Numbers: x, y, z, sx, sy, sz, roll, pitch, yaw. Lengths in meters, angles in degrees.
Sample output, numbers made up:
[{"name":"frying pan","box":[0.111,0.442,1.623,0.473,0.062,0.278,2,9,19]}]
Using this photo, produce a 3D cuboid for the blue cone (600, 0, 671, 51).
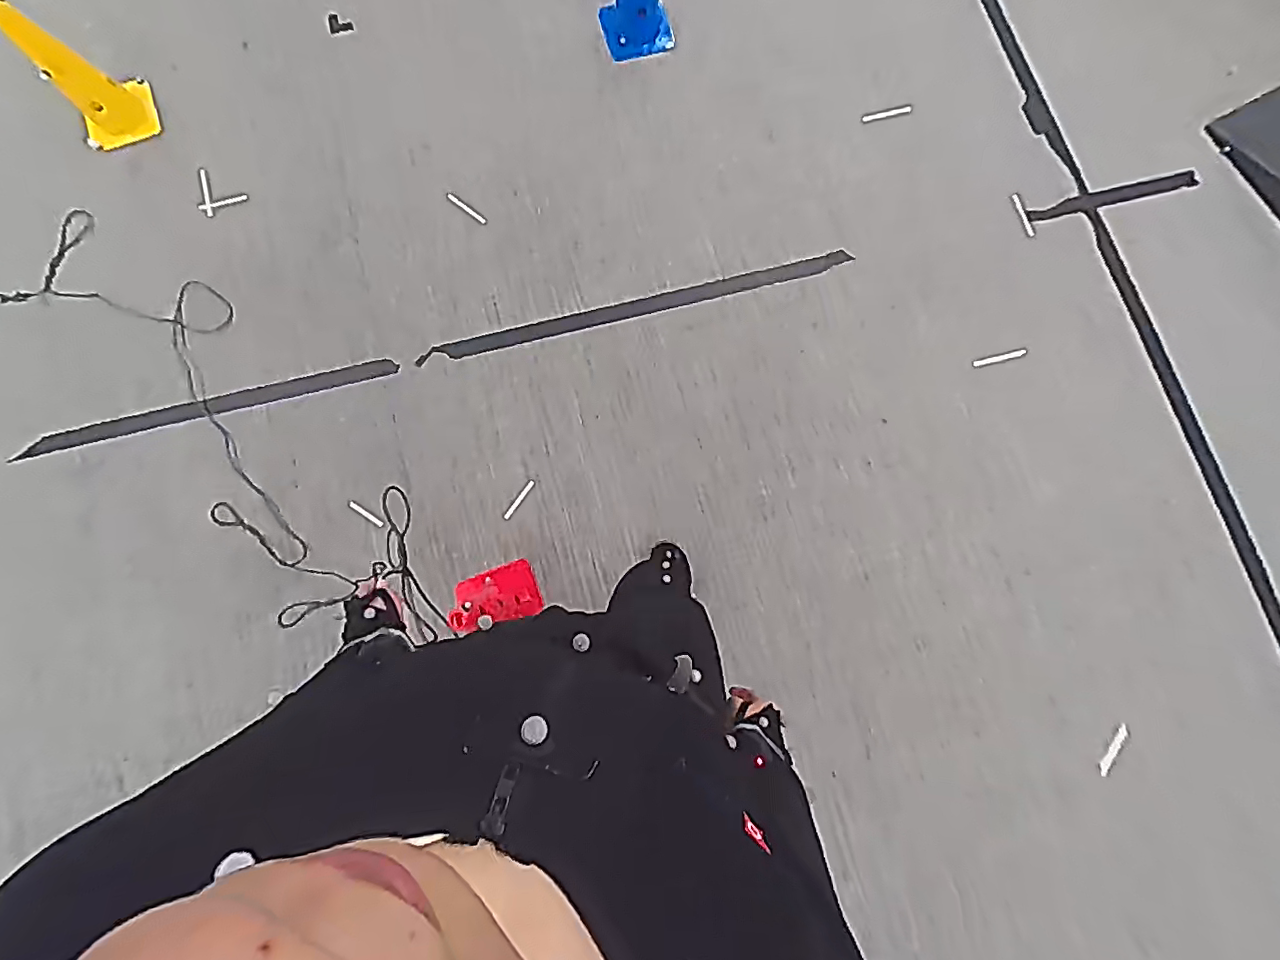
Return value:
[{"name":"blue cone","box":[-0.012,-1.407,1.463,0.193,0.380,0.192,-14,80,-2]}]

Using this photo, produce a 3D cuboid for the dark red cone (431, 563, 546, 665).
[{"name":"dark red cone","box":[-0.346,0.292,1.147,0.202,0.394,0.201,-22,80,-4]}]
